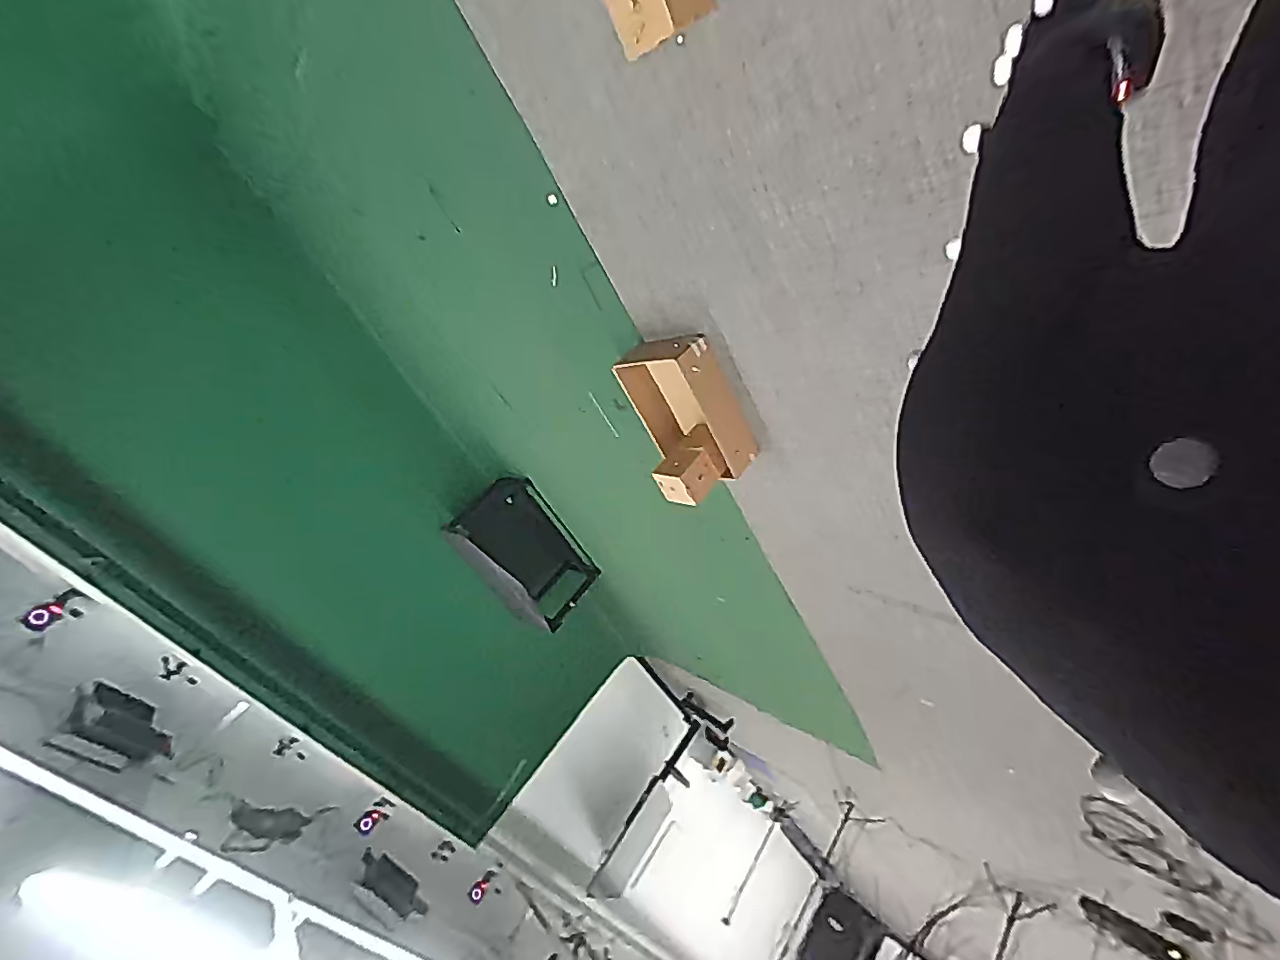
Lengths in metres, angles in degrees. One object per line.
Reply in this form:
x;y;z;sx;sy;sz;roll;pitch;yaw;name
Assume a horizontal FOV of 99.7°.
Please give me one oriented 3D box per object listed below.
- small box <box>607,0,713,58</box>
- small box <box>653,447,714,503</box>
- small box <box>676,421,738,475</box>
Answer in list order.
0.042;-1.150;1.271;0.168;0.176;0.179;12;141;47;small box
0.194;-0.025;2.295;0.179;0.176;0.168;8;138;48;small box
0.295;-0.141;2.353;0.179;0.176;0.168;2;134;51;small box
